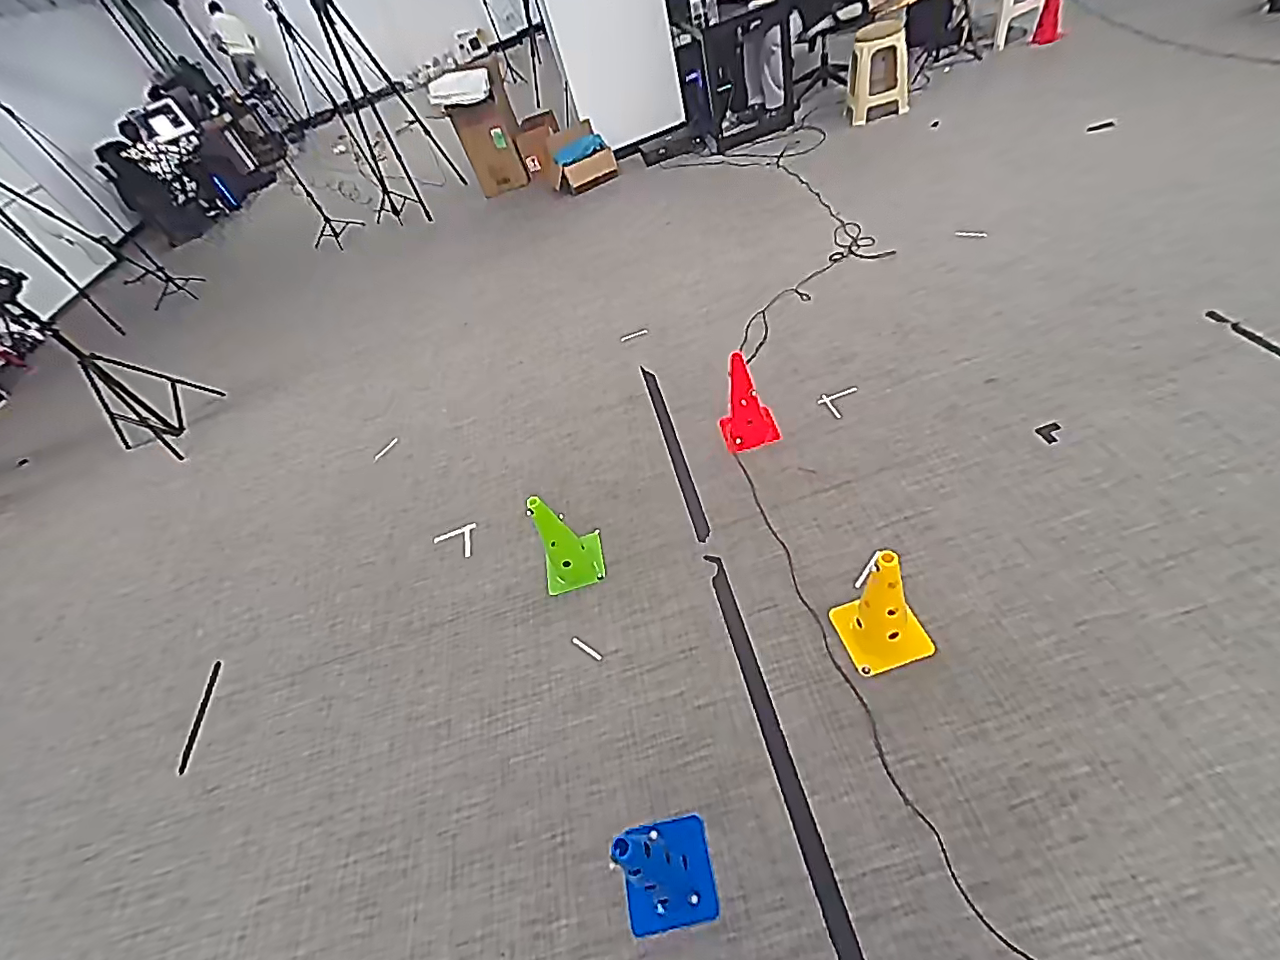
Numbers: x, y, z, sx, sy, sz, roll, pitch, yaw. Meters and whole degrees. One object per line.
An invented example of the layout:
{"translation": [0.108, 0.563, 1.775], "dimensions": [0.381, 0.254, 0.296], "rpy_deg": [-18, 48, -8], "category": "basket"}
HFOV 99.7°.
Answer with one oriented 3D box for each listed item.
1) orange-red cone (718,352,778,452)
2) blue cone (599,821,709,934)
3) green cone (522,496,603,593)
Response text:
{"translation": [0.360, -0.301, 1.912], "dimensions": [0.199, 0.360, 0.198], "rpy_deg": [-15, 48, 6], "category": "orange-red cone"}
{"translation": [0.005, 0.778, 1.094], "dimensions": [0.192, 0.380, 0.193], "rpy_deg": [-17, 46, 7], "category": "blue cone"}
{"translation": [-0.277, 0.170, 1.724], "dimensions": [0.202, 0.368, 0.200], "rpy_deg": [-20, 46, 5], "category": "green cone"}
